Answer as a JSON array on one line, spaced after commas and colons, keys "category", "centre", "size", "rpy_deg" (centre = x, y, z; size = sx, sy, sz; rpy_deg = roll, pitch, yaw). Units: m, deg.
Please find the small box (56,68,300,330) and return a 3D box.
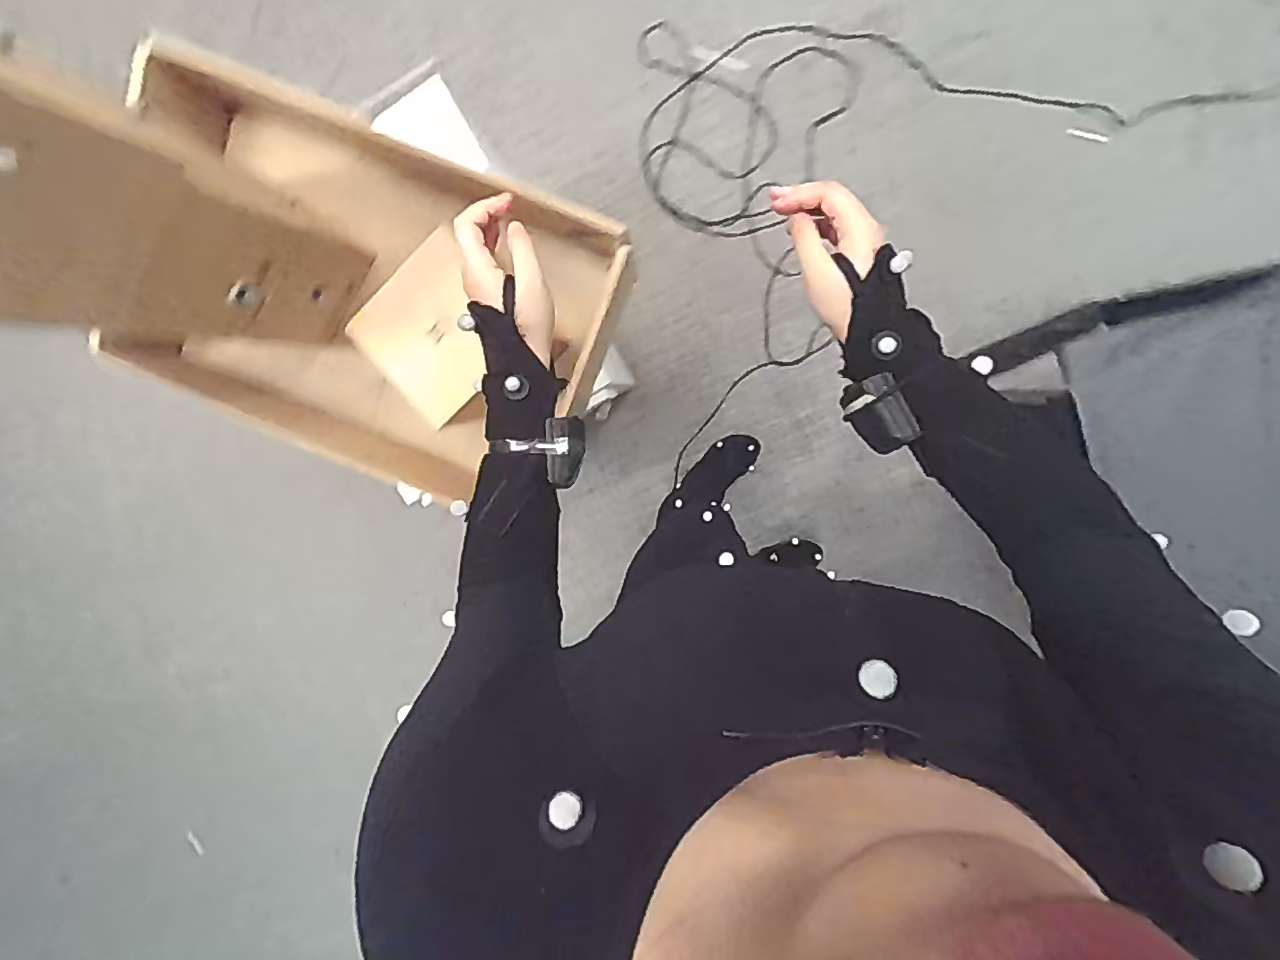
[{"category": "small box", "centre": [-0.511, -0.271, 0.561], "size": [0.179, 0.176, 0.168], "rpy_deg": [37, 102, -5]}]
